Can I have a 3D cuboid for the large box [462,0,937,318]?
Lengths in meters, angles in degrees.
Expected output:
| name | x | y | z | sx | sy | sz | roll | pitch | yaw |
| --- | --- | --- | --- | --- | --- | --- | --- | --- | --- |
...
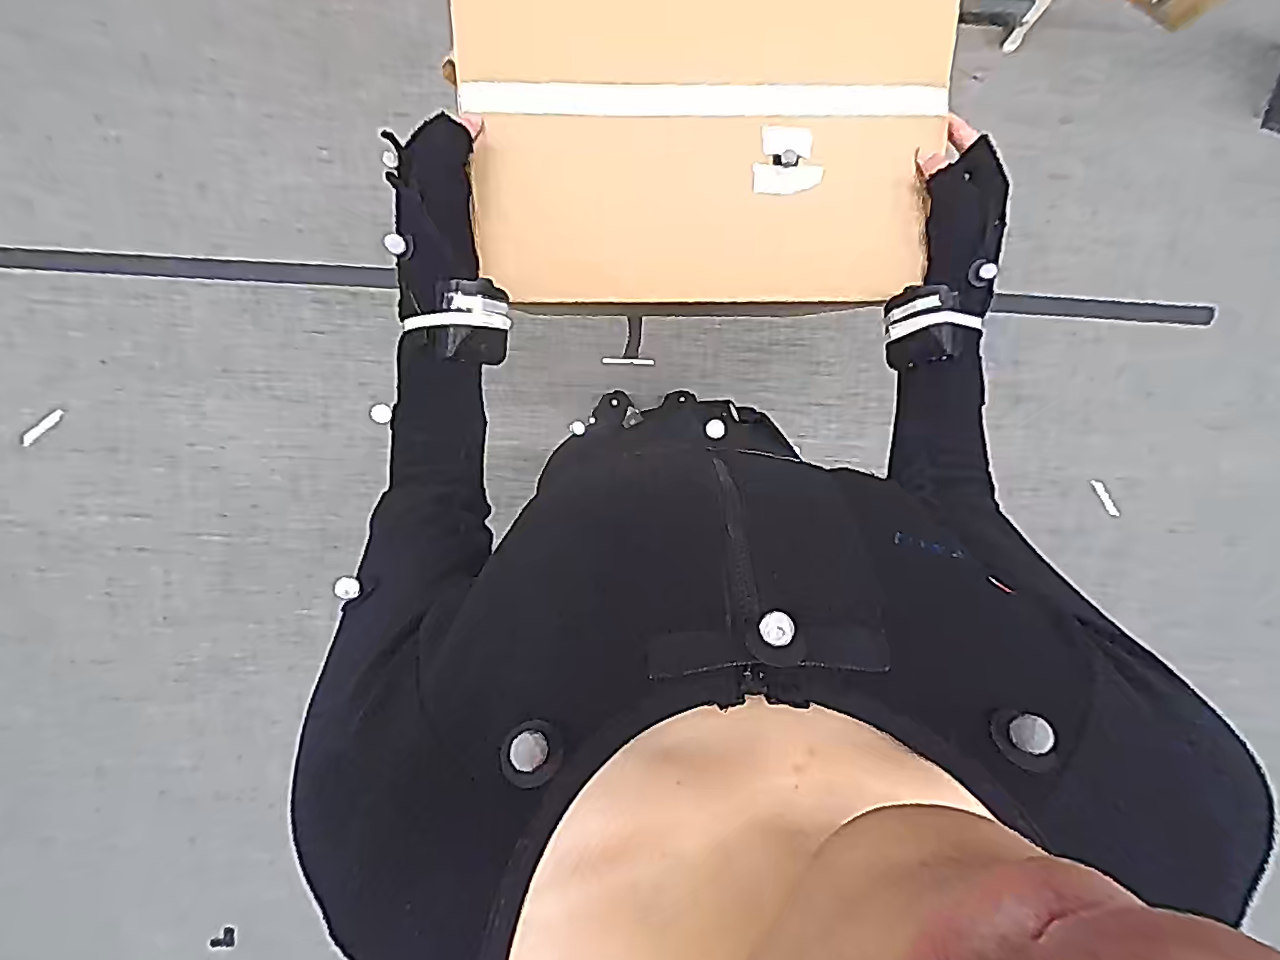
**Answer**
| name | x | y | z | sx | sy | sz | roll | pitch | yaw |
| --- | --- | --- | --- | --- | --- | --- | --- | --- | --- |
| large box | 0.045 | -0.357 | 0.612 | 0.408 | 0.320 | 0.320 | -2 | 105 | -3 |
